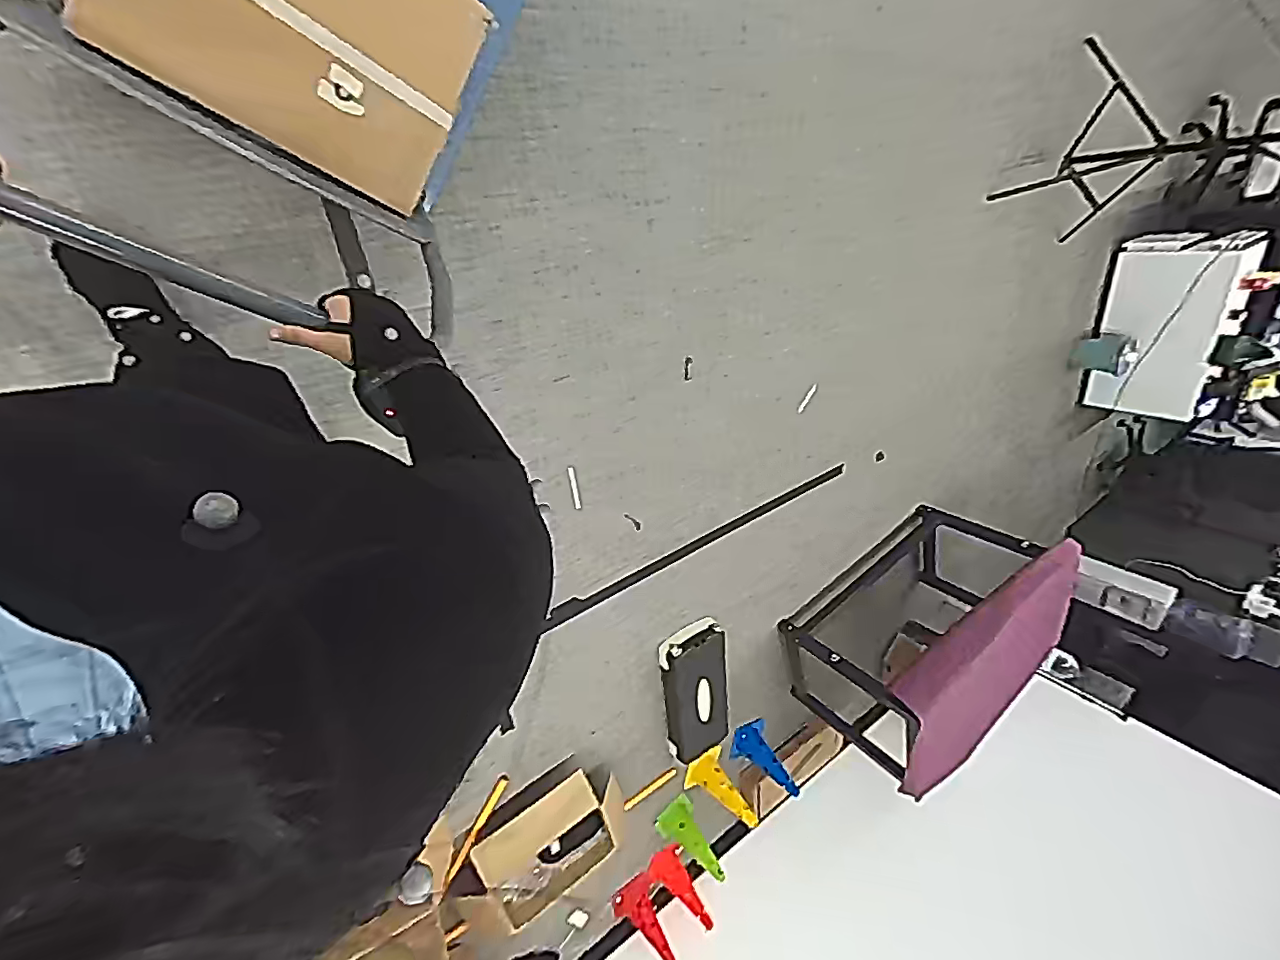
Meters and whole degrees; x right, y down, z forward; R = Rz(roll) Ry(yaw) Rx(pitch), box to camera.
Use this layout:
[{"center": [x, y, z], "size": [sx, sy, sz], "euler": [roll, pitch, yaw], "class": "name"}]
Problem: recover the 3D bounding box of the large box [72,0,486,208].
[{"center": [-0.512, -0.691, 0.816], "size": [0.408, 0.320, 0.320], "euler": [18, 115, -39], "class": "large box"}]
